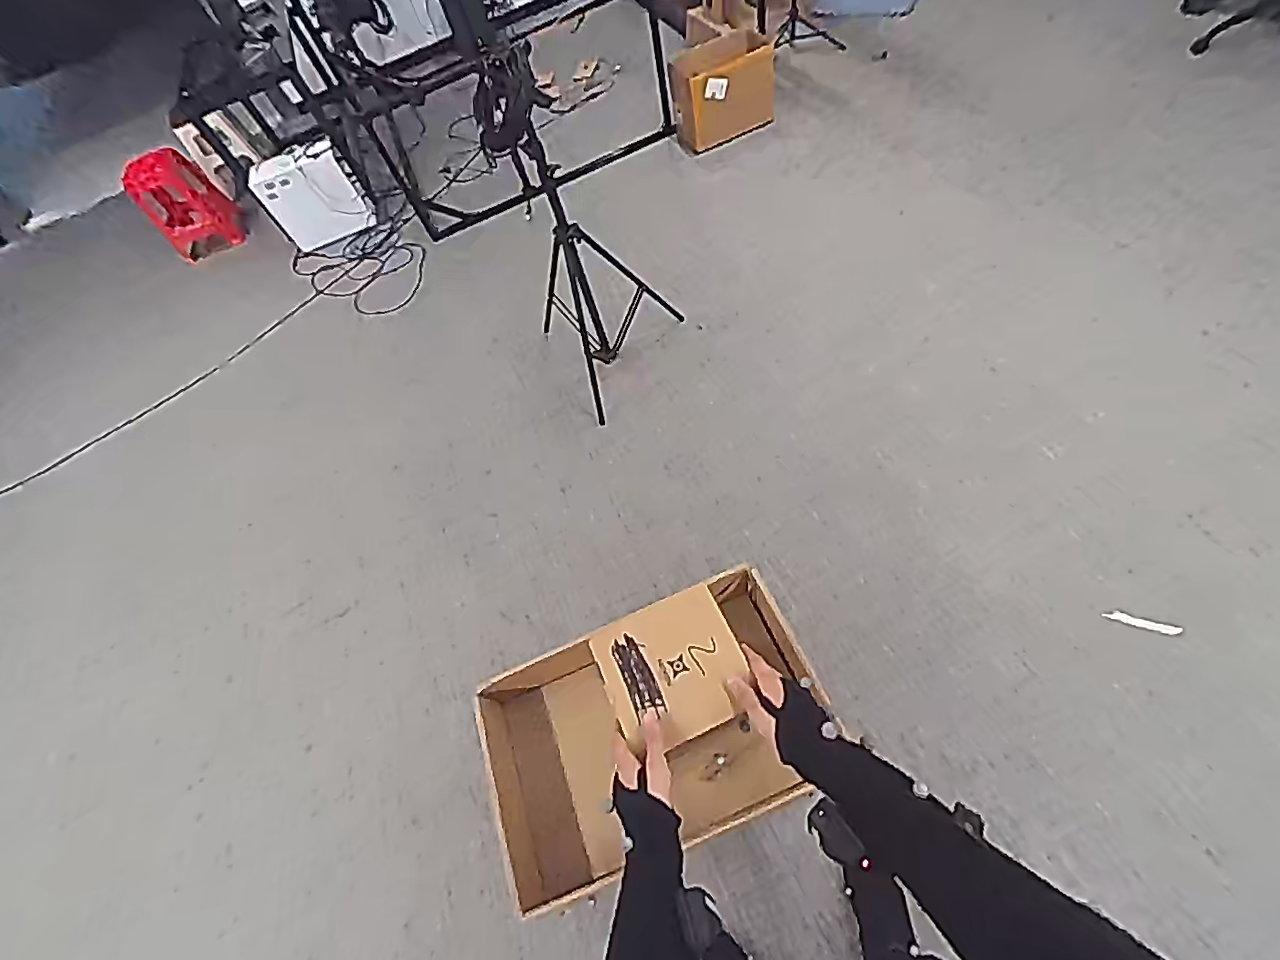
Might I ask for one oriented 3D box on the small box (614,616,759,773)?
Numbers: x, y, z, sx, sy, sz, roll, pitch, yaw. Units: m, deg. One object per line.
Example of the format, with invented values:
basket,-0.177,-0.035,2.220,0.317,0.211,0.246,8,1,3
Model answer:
small box,0.079,0.354,0.879,0.168,0.176,0.179,-27,58,0
